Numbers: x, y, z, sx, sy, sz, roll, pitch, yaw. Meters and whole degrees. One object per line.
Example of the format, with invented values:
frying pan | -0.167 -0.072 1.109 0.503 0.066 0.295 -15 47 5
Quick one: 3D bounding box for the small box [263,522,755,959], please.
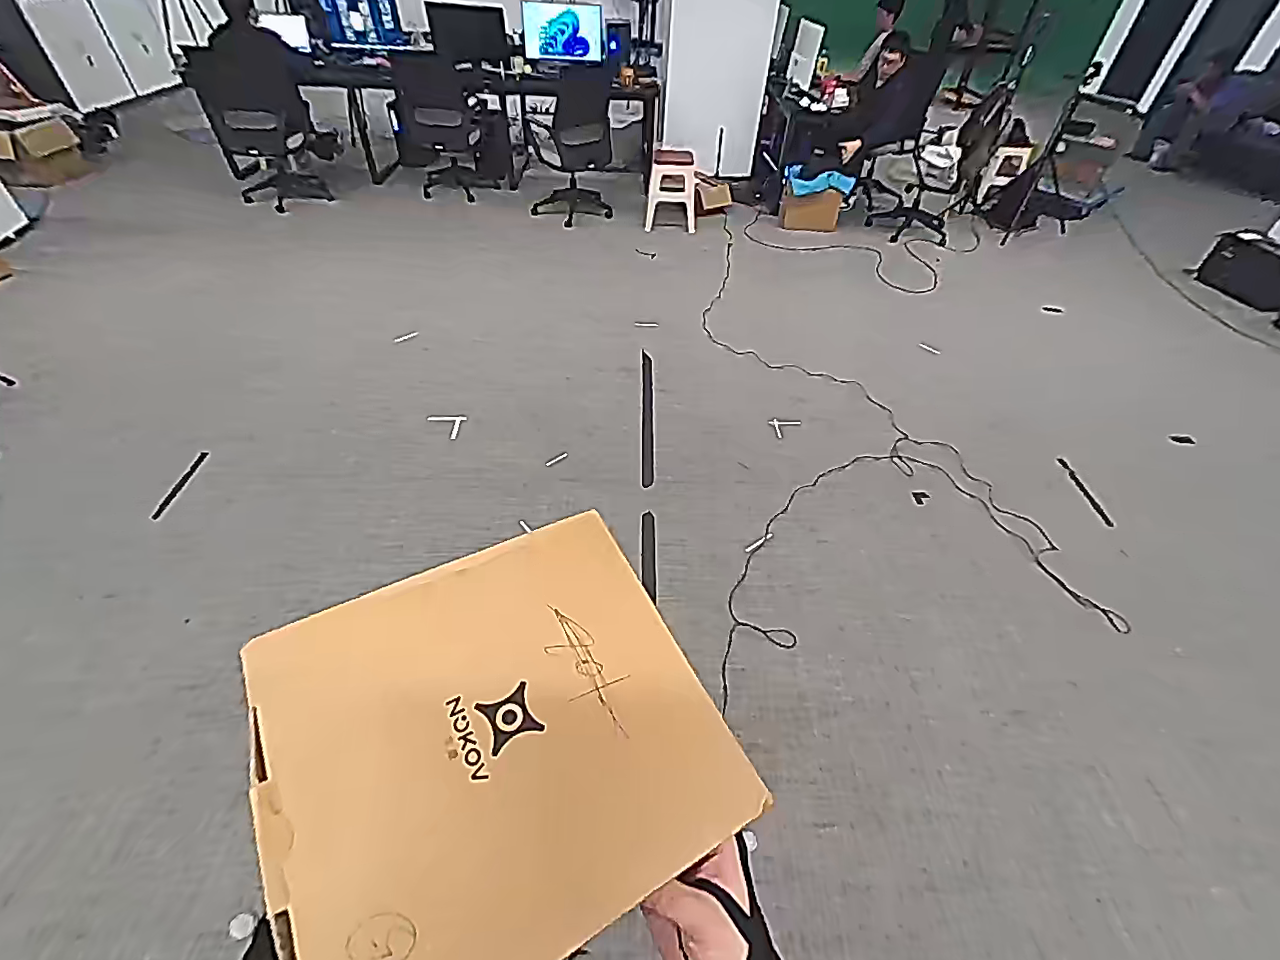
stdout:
small box | -0.070 0.159 0.305 0.179 0.176 0.168 -20 59 -25
